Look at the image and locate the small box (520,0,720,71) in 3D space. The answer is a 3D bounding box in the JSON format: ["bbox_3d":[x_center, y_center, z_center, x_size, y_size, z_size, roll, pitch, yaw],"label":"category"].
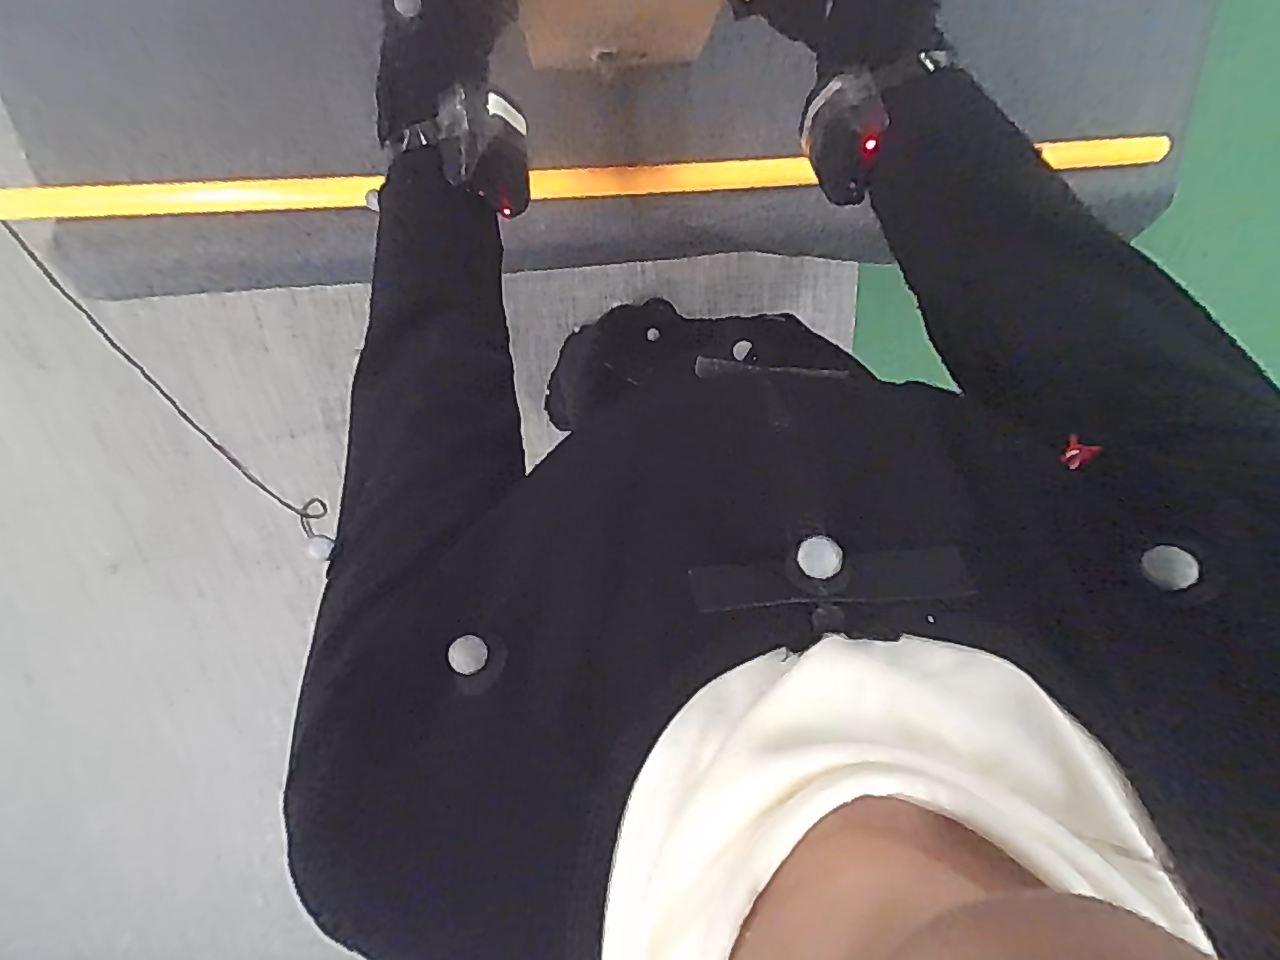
[{"bbox_3d":[-0.026,-0.473,0.441,0.168,0.176,0.179,-7,111,-2],"label":"small box"}]
